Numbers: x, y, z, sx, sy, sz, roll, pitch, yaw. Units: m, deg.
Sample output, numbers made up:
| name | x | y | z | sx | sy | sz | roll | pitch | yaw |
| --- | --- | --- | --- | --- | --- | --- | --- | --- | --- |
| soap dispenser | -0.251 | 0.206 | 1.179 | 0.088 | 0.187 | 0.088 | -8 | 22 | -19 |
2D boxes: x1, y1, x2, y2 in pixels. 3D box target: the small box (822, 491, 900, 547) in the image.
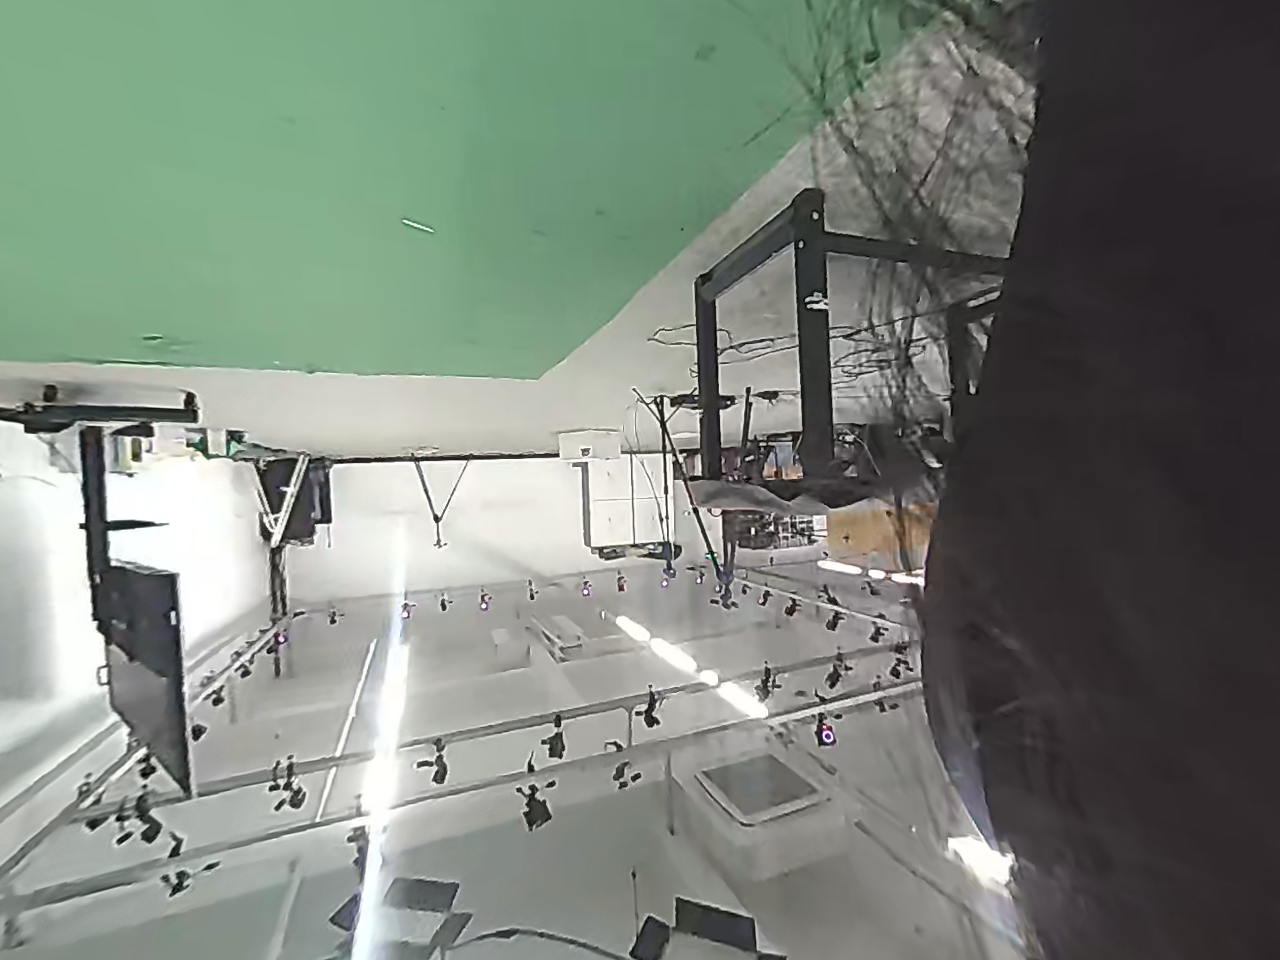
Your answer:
| name | x | y | z | sx | sy | sz | roll | pitch | yaw |
| --- | --- | --- | --- | --- | --- | --- | --- | --- | --- |
| small box | 0.706 | 0.120 | 1.735 | 0.168 | 0.176 | 0.179 | -3 | 179 | -22 |

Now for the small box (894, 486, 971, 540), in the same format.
| name | x | y | z | sx | sy | sz | roll | pitch | yaw |
| --- | --- | --- | --- | --- | --- | --- | --- | --- | --- |
| small box | 0.980 | 0.110 | 1.827 | 0.179 | 0.176 | 0.168 | -3 | 179 | -24 |
